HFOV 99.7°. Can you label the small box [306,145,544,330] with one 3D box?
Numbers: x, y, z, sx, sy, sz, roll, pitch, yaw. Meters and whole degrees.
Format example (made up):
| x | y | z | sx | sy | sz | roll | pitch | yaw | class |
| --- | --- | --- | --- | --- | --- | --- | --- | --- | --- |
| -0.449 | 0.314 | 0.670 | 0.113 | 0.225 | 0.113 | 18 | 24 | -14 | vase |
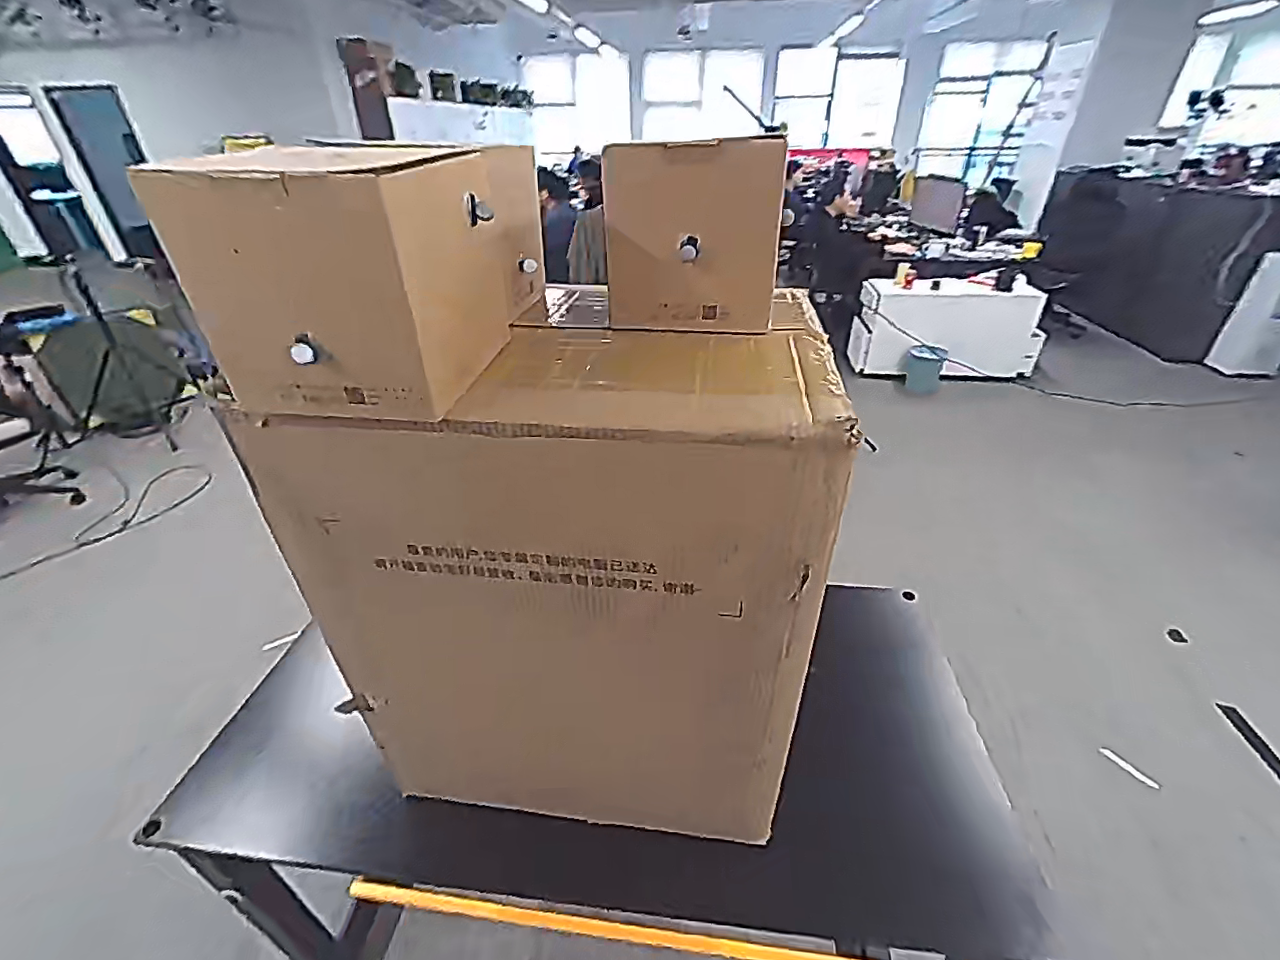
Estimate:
| x | y | z | sx | sy | sz | roll | pitch | yaw | class |
| --- | --- | --- | --- | --- | --- | --- | --- | --- | --- |
| -0.218 | -0.272 | 0.603 | 0.179 | 0.176 | 0.168 | 4 | 33 | 6 | small box |
